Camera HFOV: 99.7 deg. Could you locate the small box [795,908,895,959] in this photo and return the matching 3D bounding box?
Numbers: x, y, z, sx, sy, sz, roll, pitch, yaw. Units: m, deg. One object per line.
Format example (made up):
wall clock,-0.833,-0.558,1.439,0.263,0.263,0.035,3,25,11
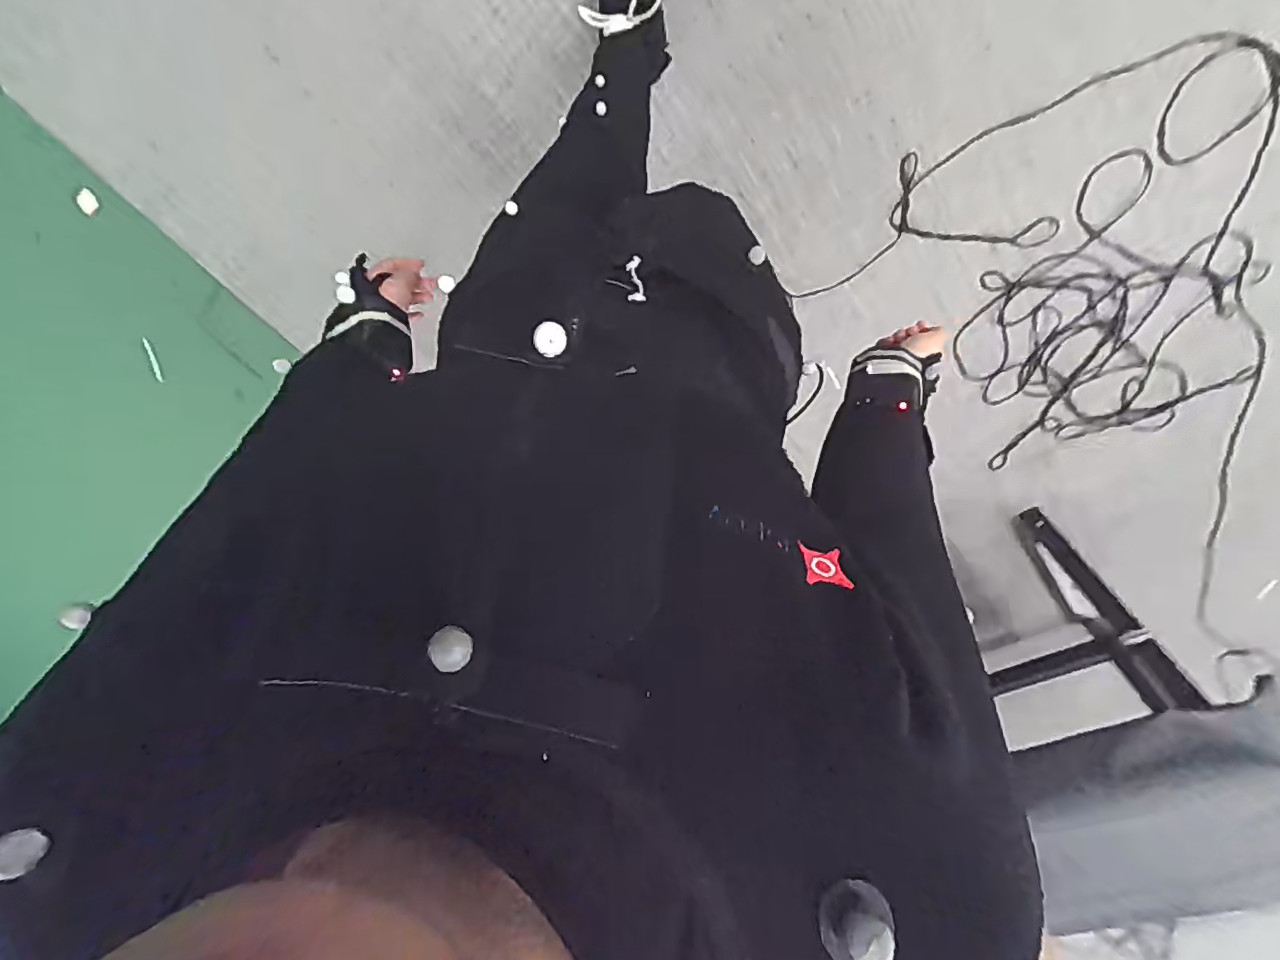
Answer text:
small box,0.496,1.154,1.292,0.179,0.176,0.168,38,120,-22
